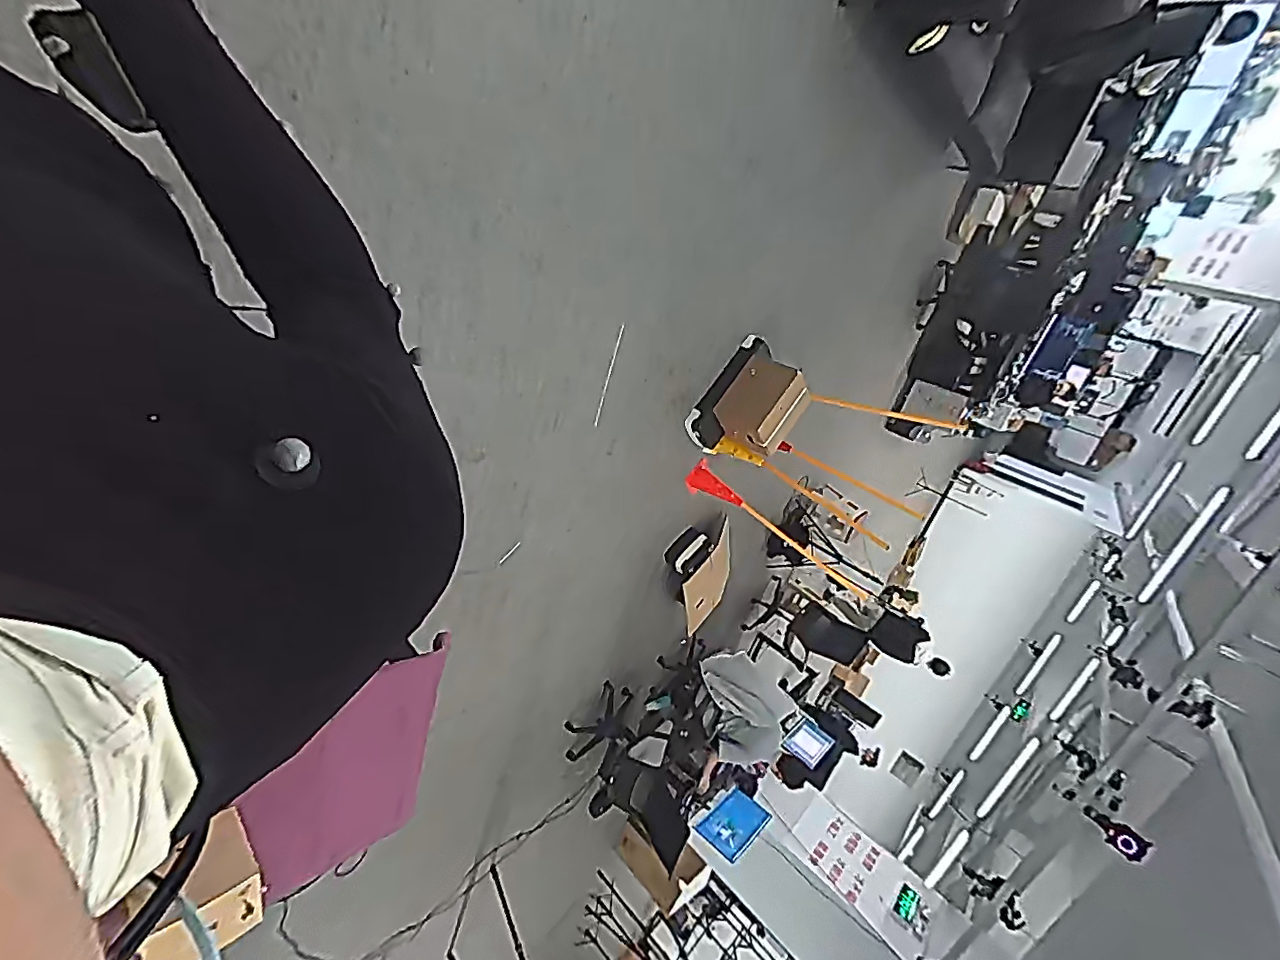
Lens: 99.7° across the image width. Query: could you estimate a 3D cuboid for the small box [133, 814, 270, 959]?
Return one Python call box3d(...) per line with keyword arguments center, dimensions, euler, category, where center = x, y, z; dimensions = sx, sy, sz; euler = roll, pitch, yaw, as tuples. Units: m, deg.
box3d(center=(-0.831, 0.792, 1.025), dimensions=(0.179, 0.176, 0.168), euler=(-12, 125, -47), category="small box")
